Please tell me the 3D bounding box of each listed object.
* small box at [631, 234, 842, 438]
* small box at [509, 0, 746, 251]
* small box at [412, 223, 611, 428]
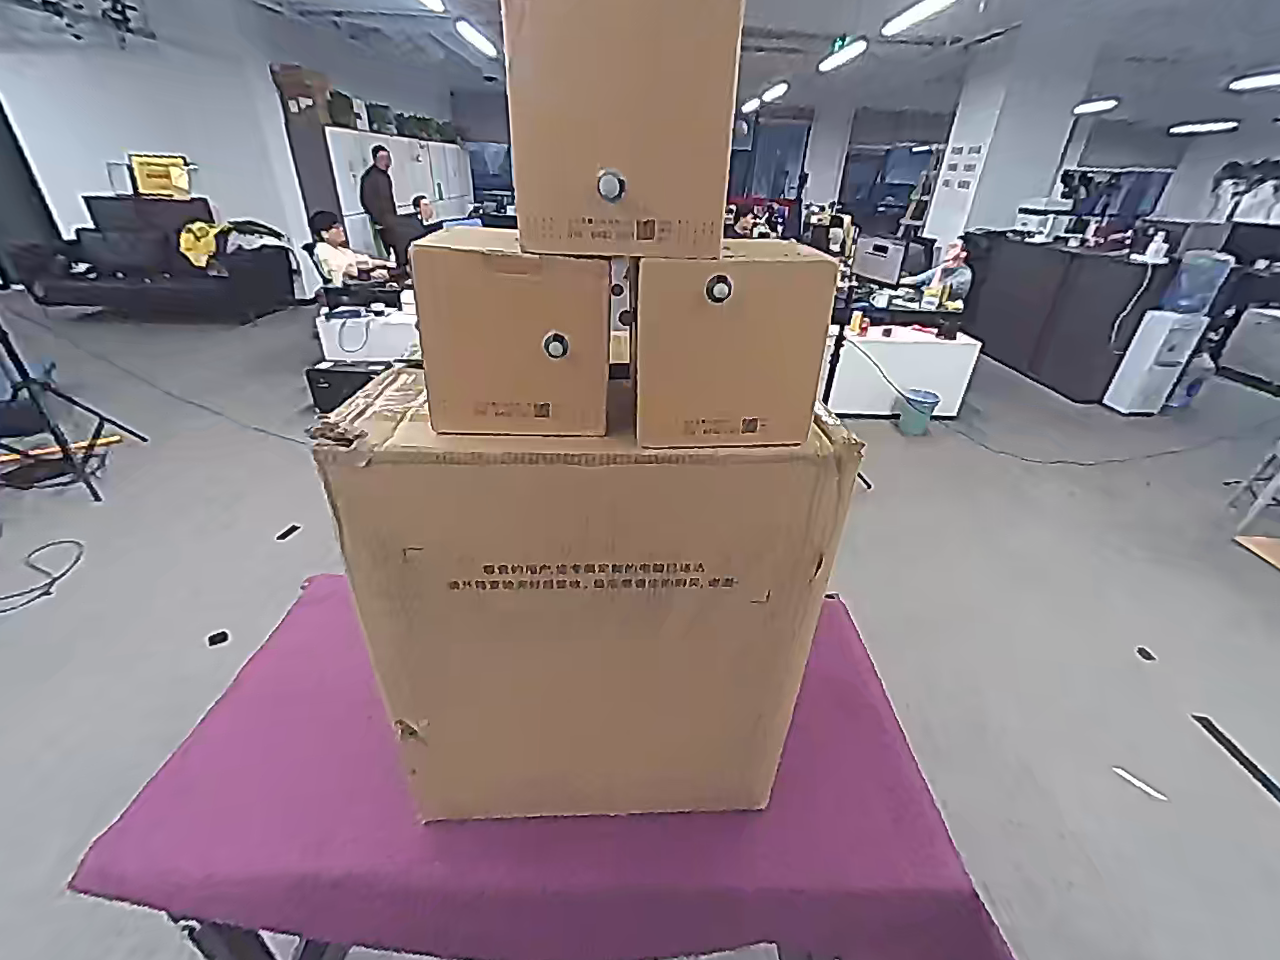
[{"bbox_3d":[0.077,-0.151,0.545,0.168,0.176,0.179,-2,28,-4],"label":"small box"},{"bbox_3d":[-0.005,-0.298,0.470,0.168,0.176,0.179,3,30,4],"label":"small box"},{"bbox_3d":[-0.115,-0.160,0.552,0.168,0.176,0.179,2,28,-7],"label":"small box"}]
